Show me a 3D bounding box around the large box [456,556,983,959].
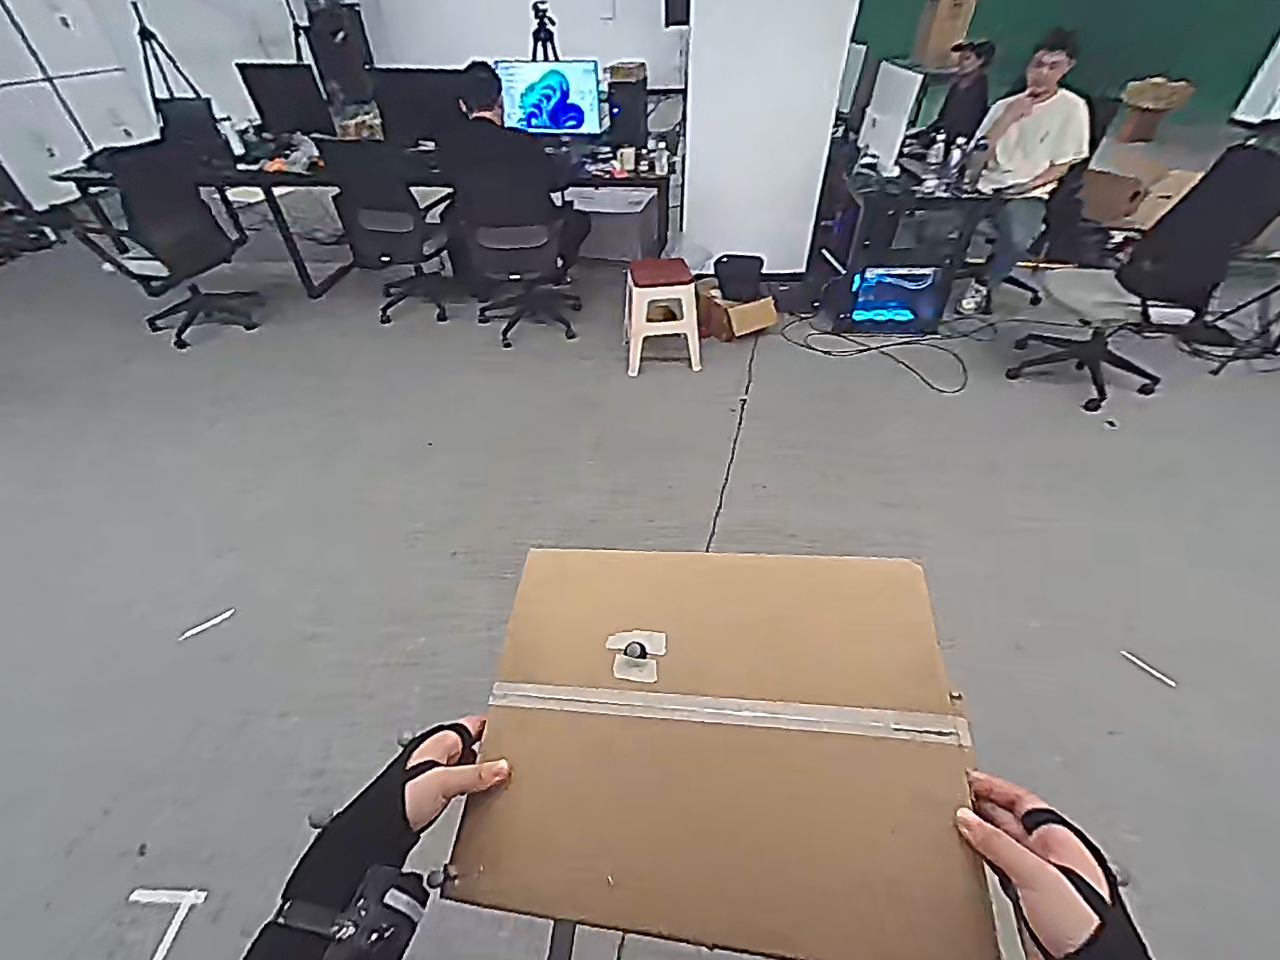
[{"bbox_3d":[0.083,0.293,0.607,0.408,0.320,0.320,-2,53,12],"label":"large box"}]
